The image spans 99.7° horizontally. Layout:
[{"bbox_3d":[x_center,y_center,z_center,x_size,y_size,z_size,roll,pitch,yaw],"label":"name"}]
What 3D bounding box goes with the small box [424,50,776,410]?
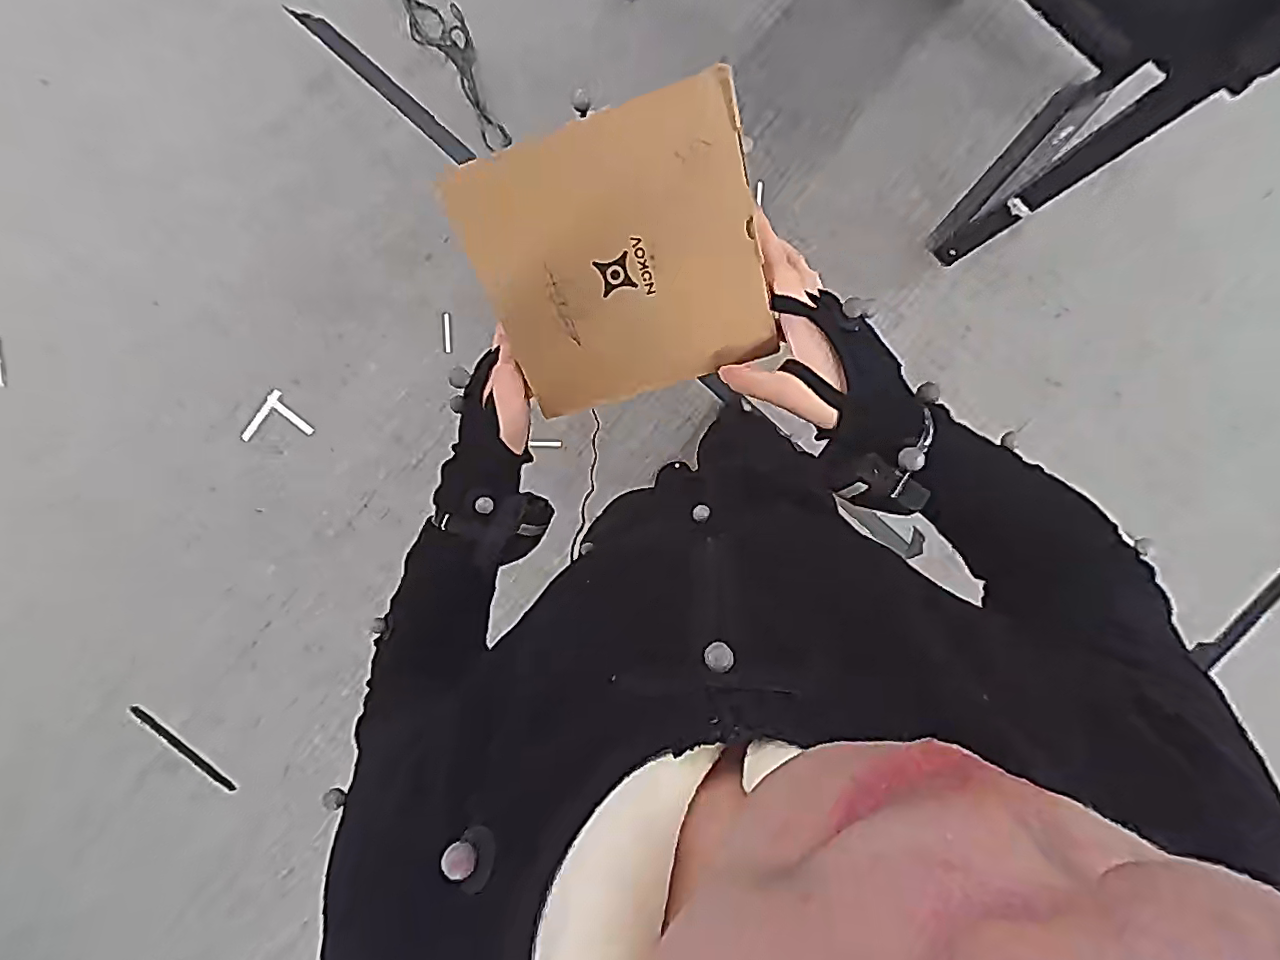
[{"bbox_3d":[-0.015,-0.179,0.391,0.179,0.176,0.168,-14,124,11],"label":"small box"}]
